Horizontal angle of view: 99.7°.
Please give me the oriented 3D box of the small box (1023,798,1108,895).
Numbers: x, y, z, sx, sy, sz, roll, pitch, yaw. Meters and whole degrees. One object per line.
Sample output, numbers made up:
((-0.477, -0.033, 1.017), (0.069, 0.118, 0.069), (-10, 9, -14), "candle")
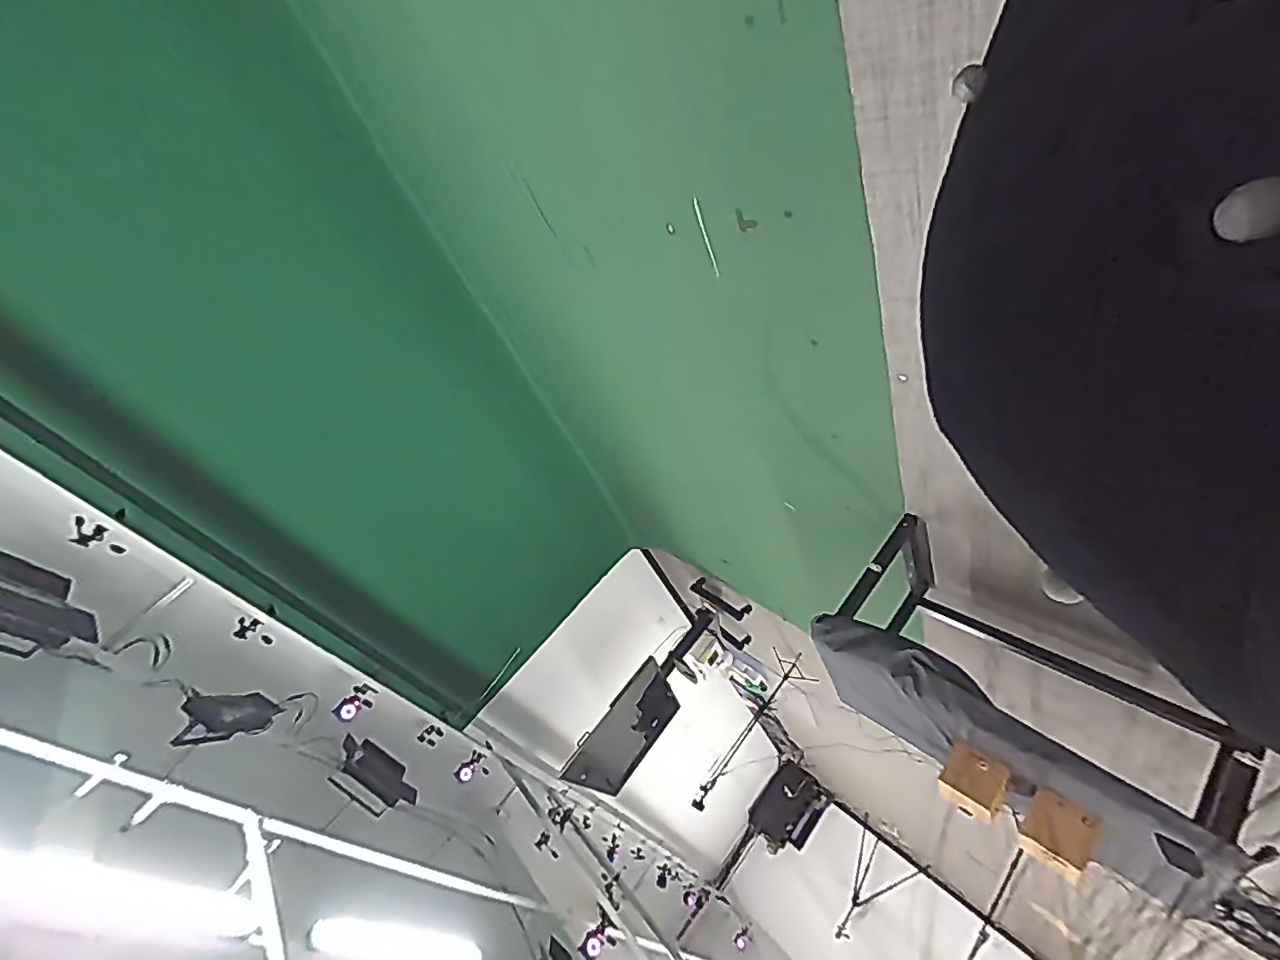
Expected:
((1.313, 1.124, 1.670), (0.168, 0.176, 0.179), (22, 152, 47), "small box")

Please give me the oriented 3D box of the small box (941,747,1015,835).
((1.160, 1.060, 1.851), (0.168, 0.176, 0.179), (19, 148, 48), "small box")
